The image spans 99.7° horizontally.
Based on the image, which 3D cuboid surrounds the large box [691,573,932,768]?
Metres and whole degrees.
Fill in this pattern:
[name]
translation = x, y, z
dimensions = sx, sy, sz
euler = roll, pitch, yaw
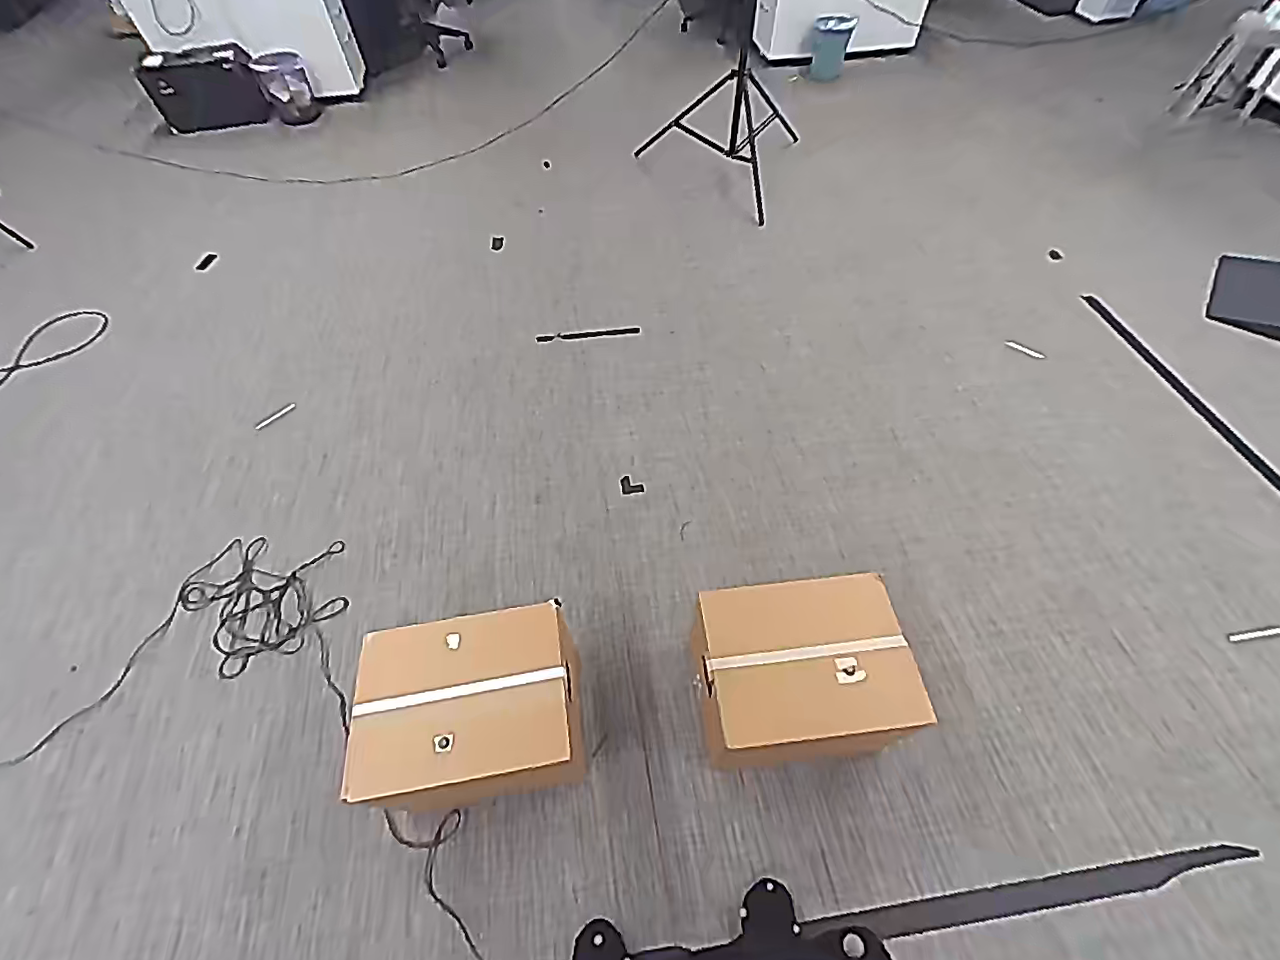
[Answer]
[large box]
translation = 0.345, 0.436, 1.222
dimensions = 0.408, 0.320, 0.320
euler = -5, 55, -3
